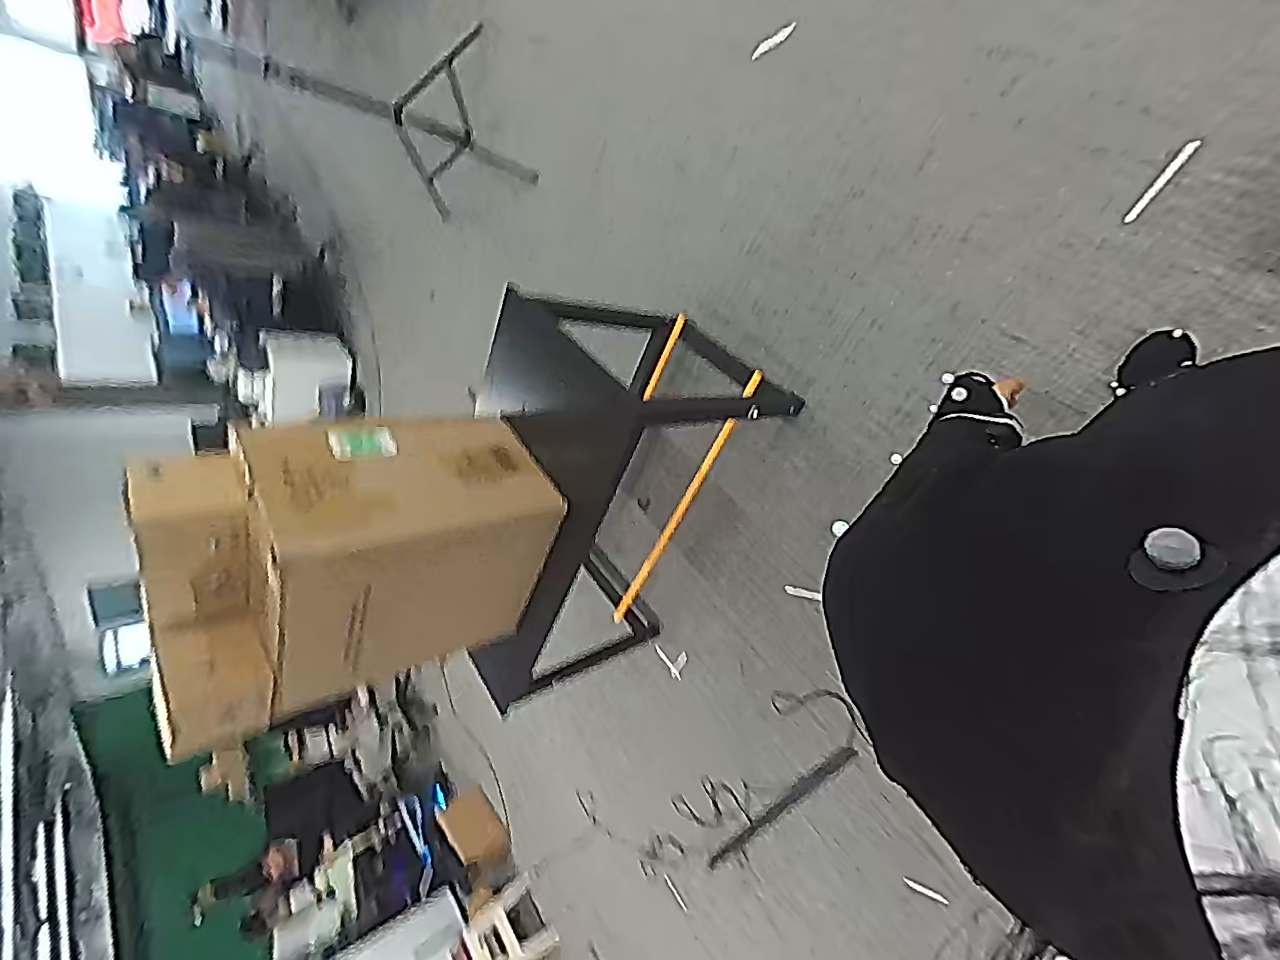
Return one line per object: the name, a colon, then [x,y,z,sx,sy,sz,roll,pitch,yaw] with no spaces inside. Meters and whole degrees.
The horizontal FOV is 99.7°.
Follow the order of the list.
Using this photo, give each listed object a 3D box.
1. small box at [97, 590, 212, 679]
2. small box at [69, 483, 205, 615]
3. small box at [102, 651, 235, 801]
small box: [-1.036,0.343,1.161,0.168,0.176,0.179,49,127,30]
small box: [-0.935,0.119,1.014,0.179,0.176,0.168,48,129,32]
small box: [-0.913,0.468,1.055,0.179,0.176,0.168,41,121,30]
